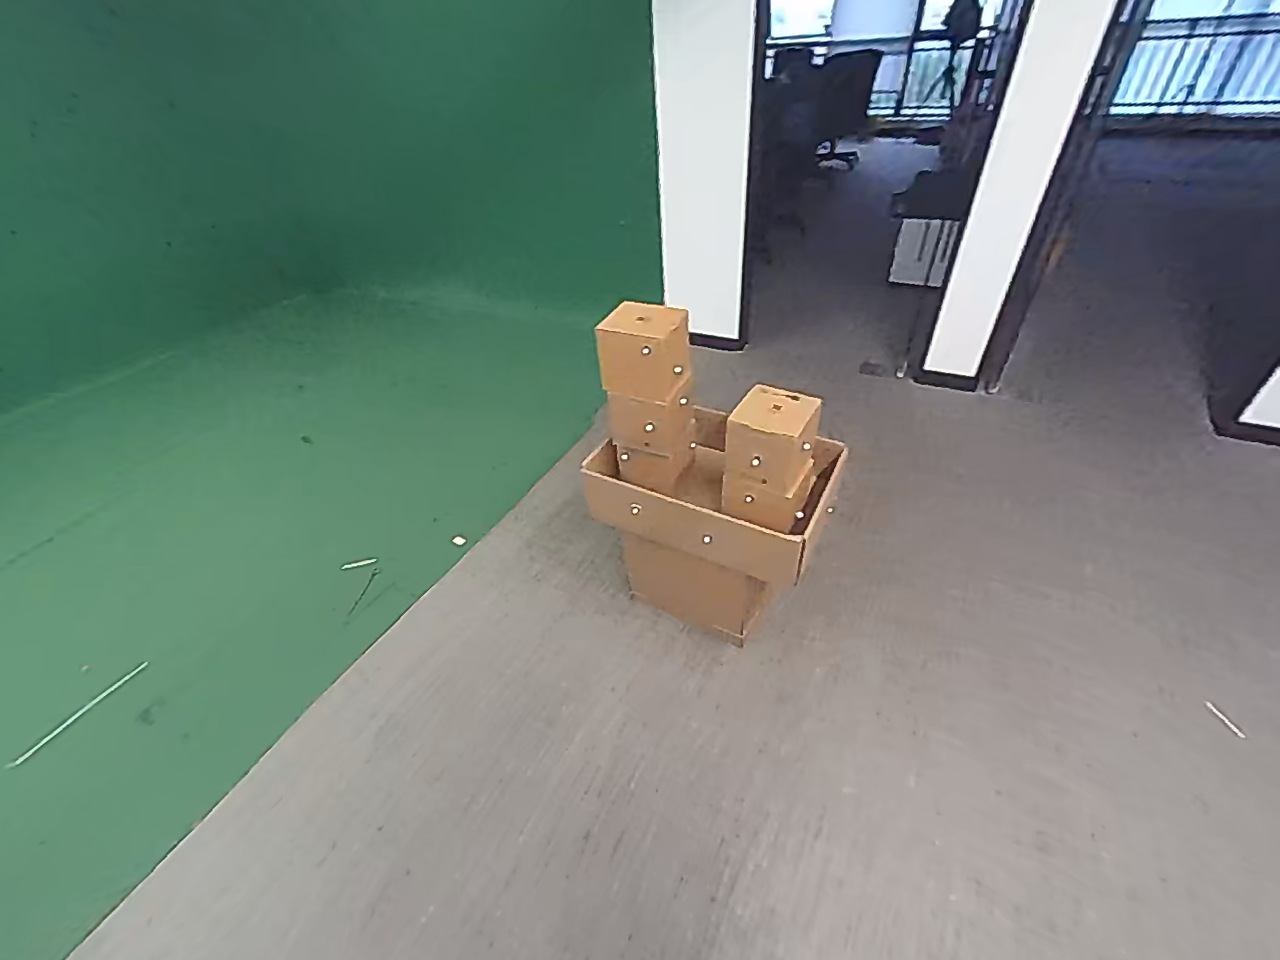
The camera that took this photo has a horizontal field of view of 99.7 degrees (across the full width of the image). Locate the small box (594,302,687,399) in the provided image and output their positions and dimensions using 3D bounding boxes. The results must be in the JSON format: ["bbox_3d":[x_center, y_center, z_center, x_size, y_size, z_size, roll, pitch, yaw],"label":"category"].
[{"bbox_3d":[0.007,-0.317,1.326,0.179,0.176,0.168,15,44,20],"label":"small box"}]

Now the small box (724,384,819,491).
[{"bbox_3d":[0.312,-0.101,1.291,0.168,0.176,0.179,20,47,26],"label":"small box"}]

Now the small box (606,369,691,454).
[{"bbox_3d":[0.030,-0.191,1.426,0.168,0.176,0.179,15,44,21],"label":"small box"}]
